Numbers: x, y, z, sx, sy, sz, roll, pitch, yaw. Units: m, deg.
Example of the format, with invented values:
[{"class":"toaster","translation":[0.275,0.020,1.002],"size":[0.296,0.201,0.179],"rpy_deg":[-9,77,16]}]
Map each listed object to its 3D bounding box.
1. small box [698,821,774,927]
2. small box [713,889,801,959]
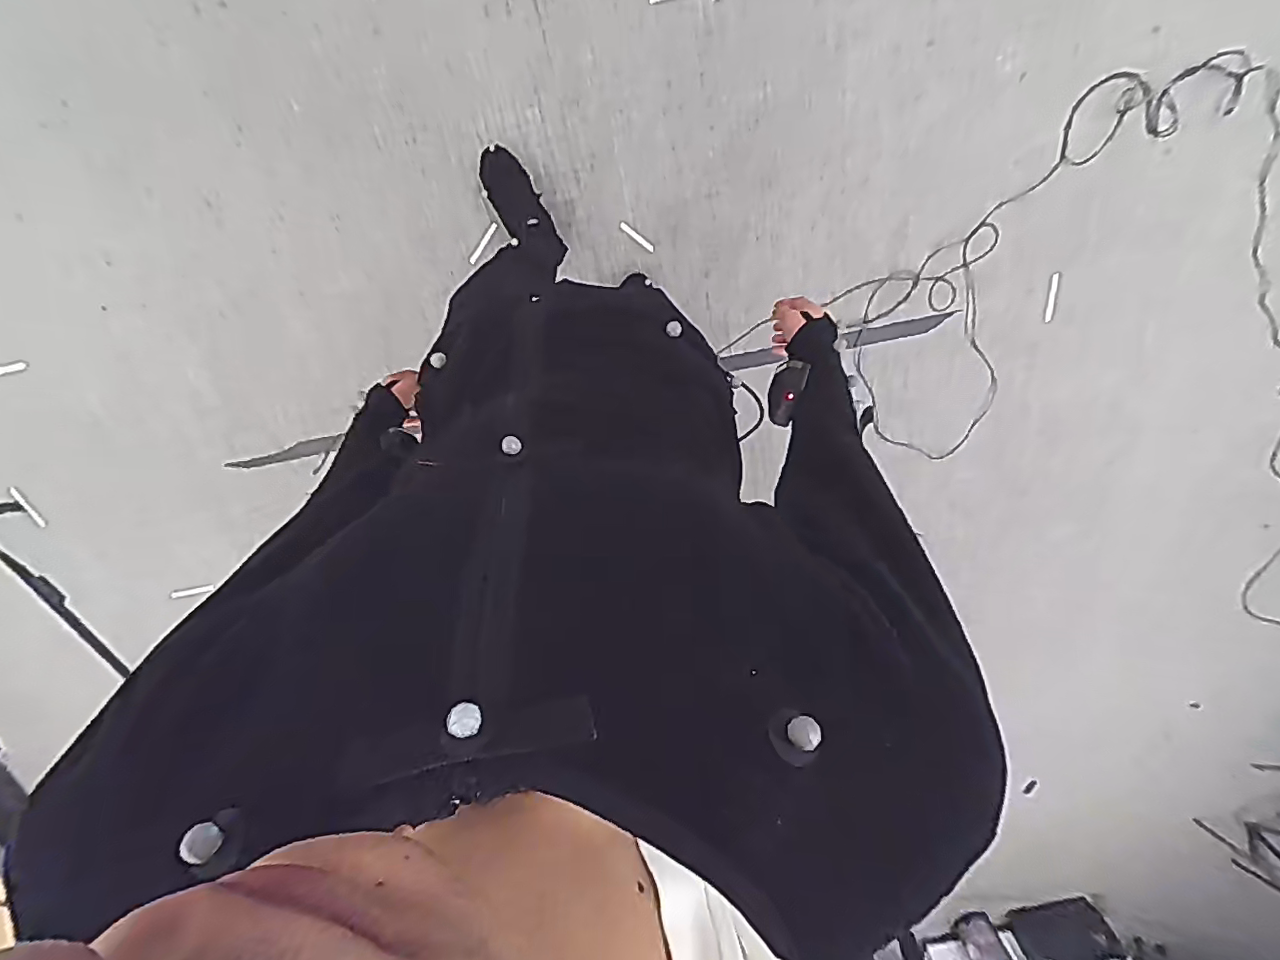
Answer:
[{"class":"small box","translation":[0.258,1.049,1.445],"size":[0.179,0.176,0.168],"rpy_deg":[-14,121,4]},{"class":"small box","translation":[0.286,1.118,1.298],"size":[0.179,0.176,0.168],"rpy_deg":[-14,121,4]}]
